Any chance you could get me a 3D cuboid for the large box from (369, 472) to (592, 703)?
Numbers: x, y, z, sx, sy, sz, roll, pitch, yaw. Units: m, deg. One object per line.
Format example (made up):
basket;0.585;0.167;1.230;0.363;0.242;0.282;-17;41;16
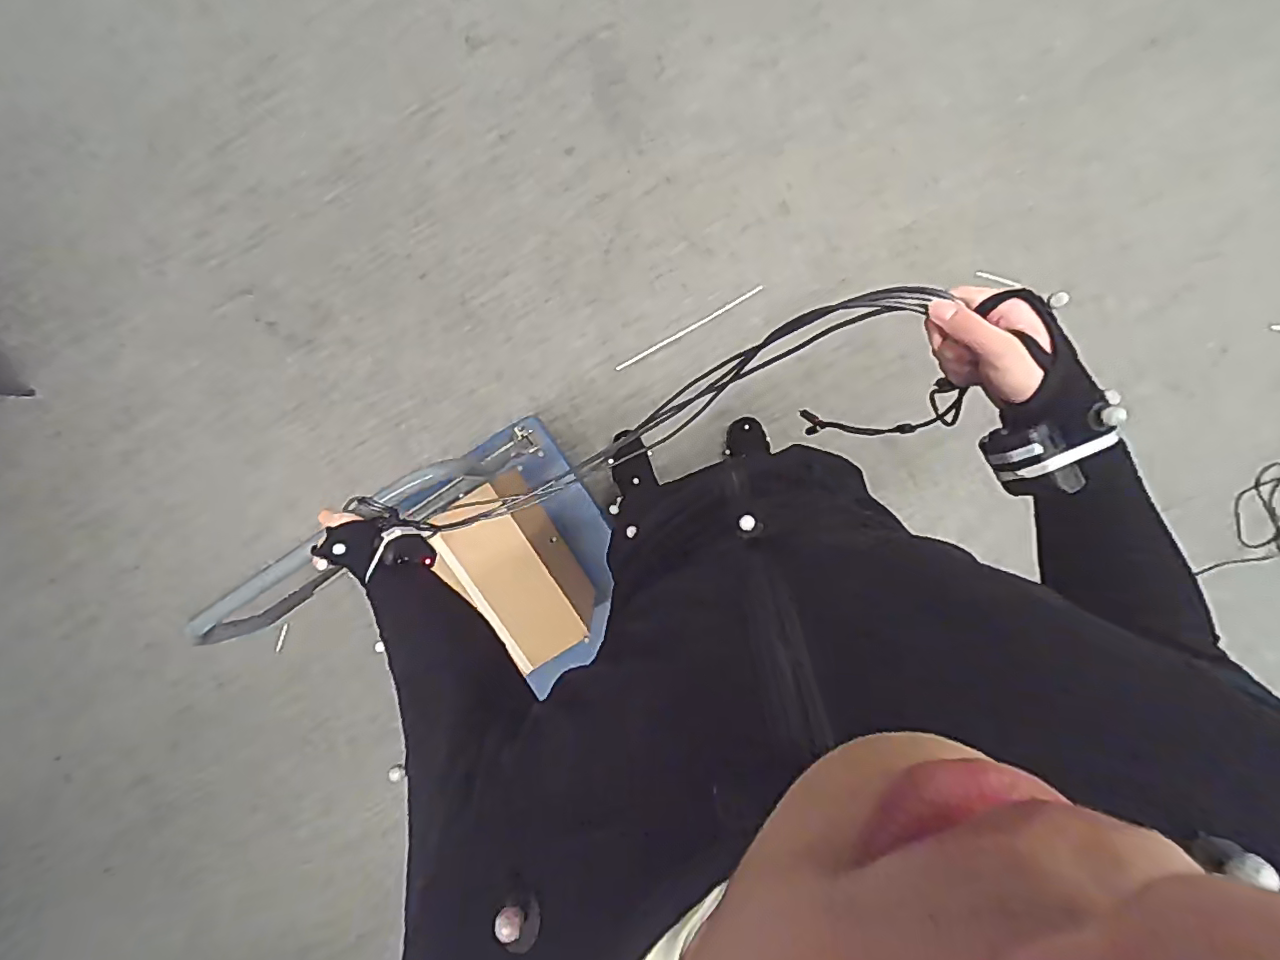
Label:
large box;-0.353;0.234;1.314;0.320;0.320;0.408;-32;97;1
